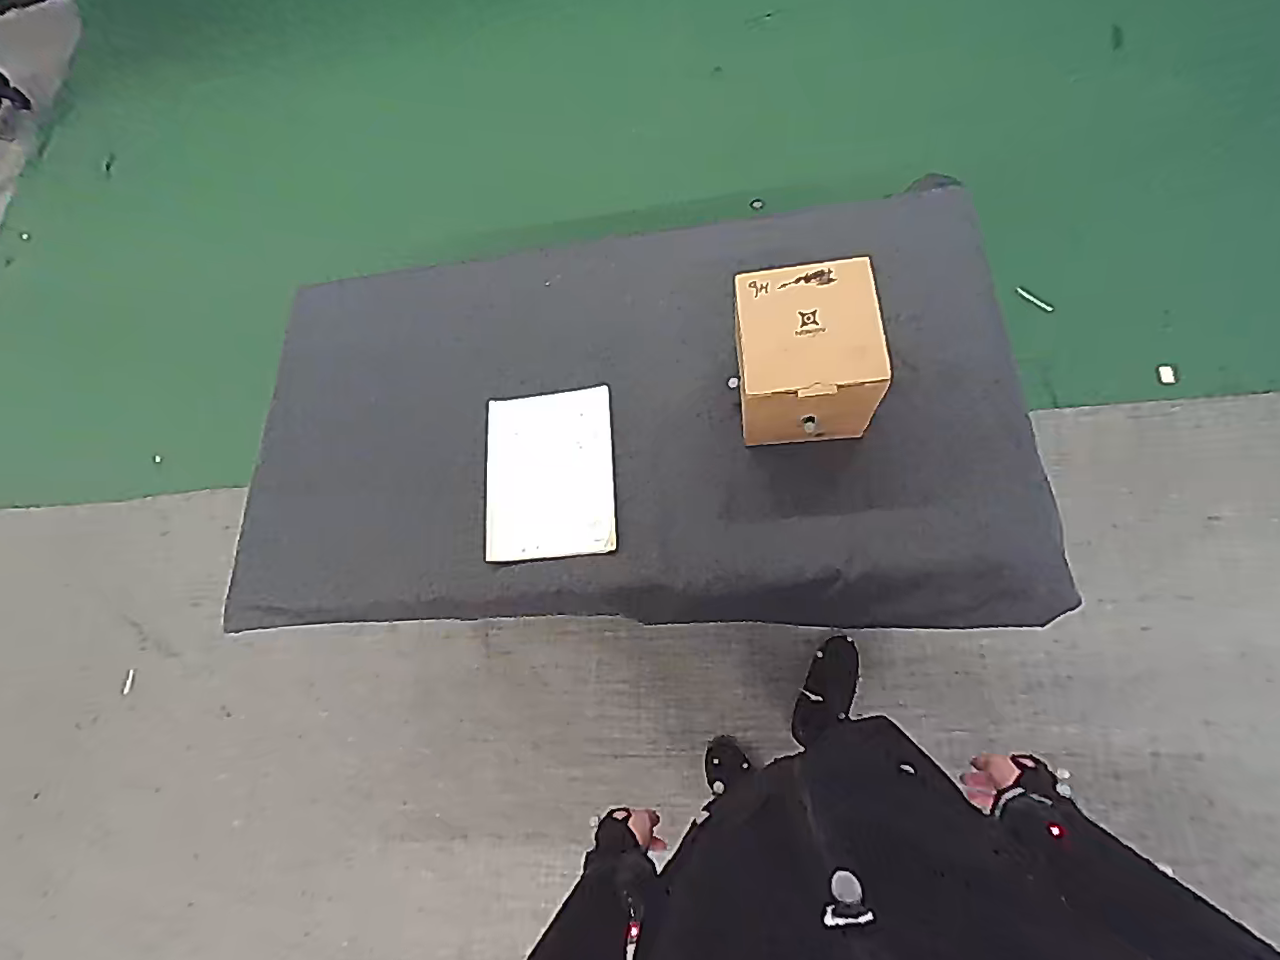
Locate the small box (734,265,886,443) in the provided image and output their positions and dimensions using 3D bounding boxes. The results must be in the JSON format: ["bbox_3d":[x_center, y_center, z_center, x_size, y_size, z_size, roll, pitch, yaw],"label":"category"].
[{"bbox_3d":[0.218,-0.156,0.731,0.168,0.176,0.179,-4,73,9],"label":"small box"}]
